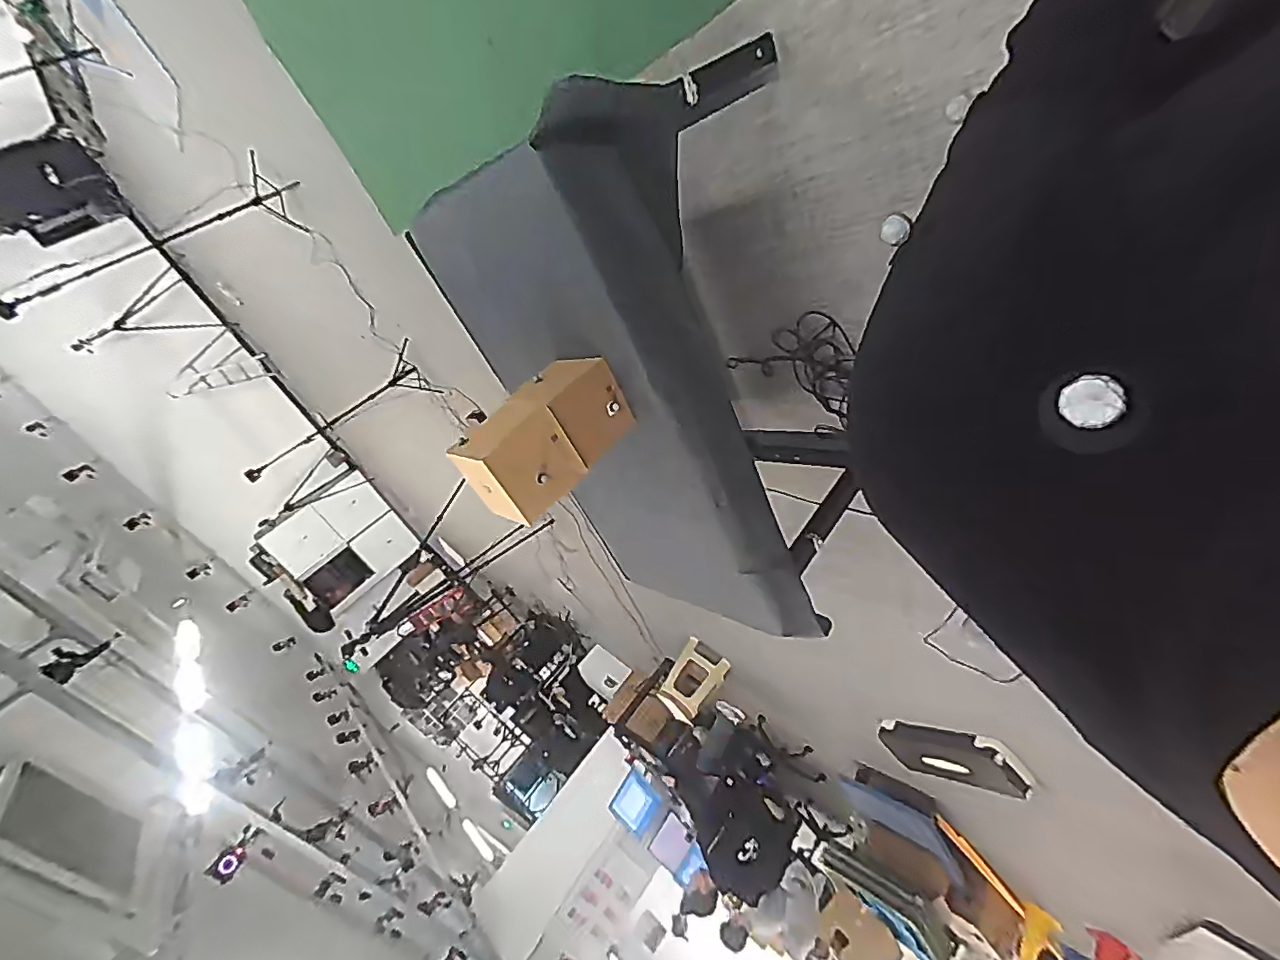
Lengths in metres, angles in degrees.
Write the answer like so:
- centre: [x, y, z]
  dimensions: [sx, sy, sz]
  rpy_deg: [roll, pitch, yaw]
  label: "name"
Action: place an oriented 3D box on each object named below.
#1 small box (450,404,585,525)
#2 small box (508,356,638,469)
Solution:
- centre: [-0.232, -0.038, 1.067]
  dimensions: [0.179, 0.176, 0.168]
  rpy_deg: [11, 139, 50]
  label: "small box"
- centre: [-0.138, -0.146, 1.143]
  dimensions: [0.179, 0.176, 0.168]
  rpy_deg: [10, 138, 48]
  label: "small box"
